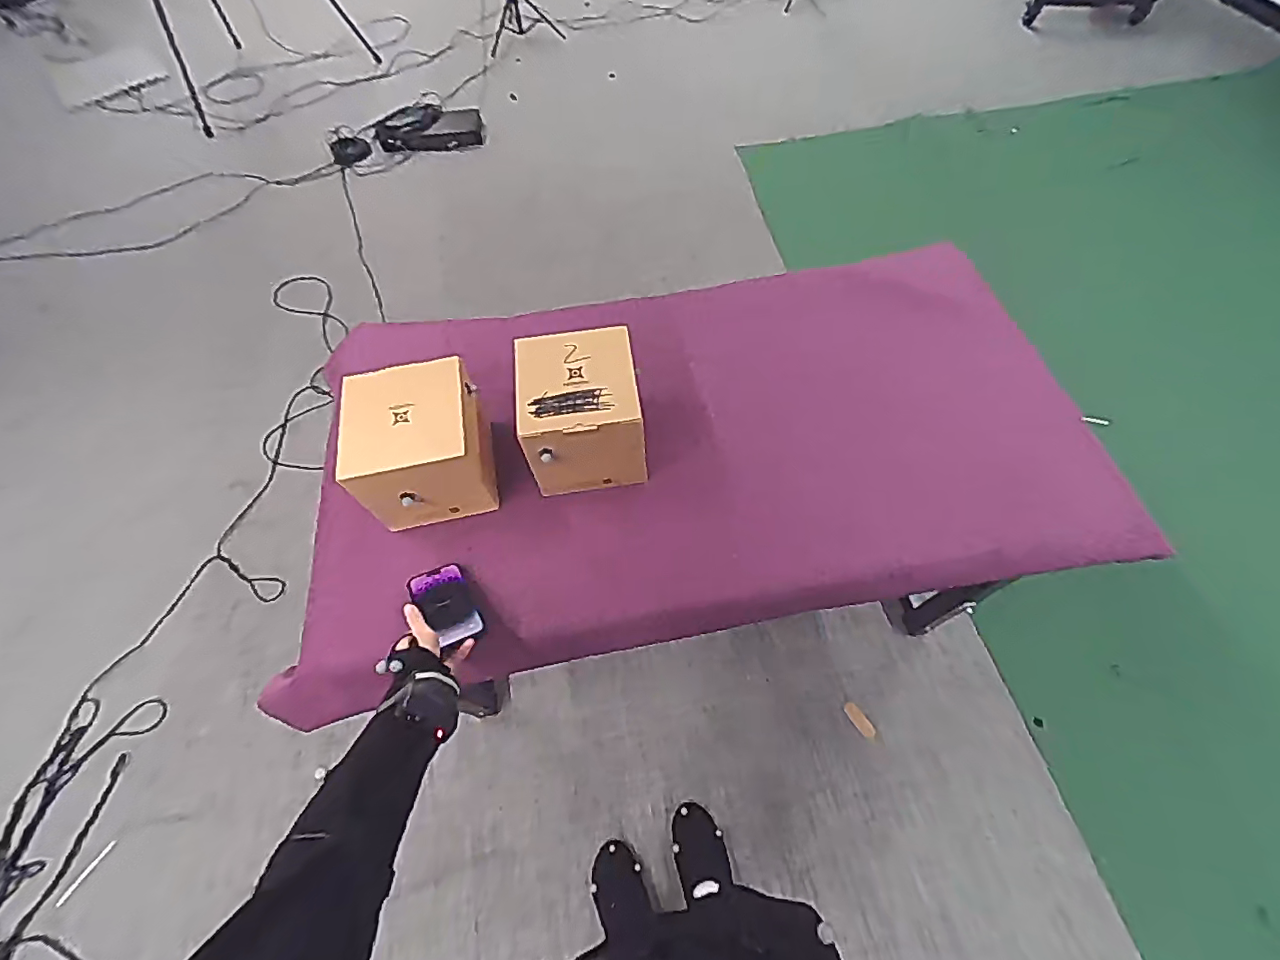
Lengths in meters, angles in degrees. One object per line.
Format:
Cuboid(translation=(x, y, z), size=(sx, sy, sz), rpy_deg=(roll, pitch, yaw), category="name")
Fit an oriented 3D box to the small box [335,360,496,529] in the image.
Cuboid(translation=(-0.317, -0.042, 0.793), size=(0.168, 0.176, 0.179), rpy_deg=(-12, 59, -4), category="small box")
